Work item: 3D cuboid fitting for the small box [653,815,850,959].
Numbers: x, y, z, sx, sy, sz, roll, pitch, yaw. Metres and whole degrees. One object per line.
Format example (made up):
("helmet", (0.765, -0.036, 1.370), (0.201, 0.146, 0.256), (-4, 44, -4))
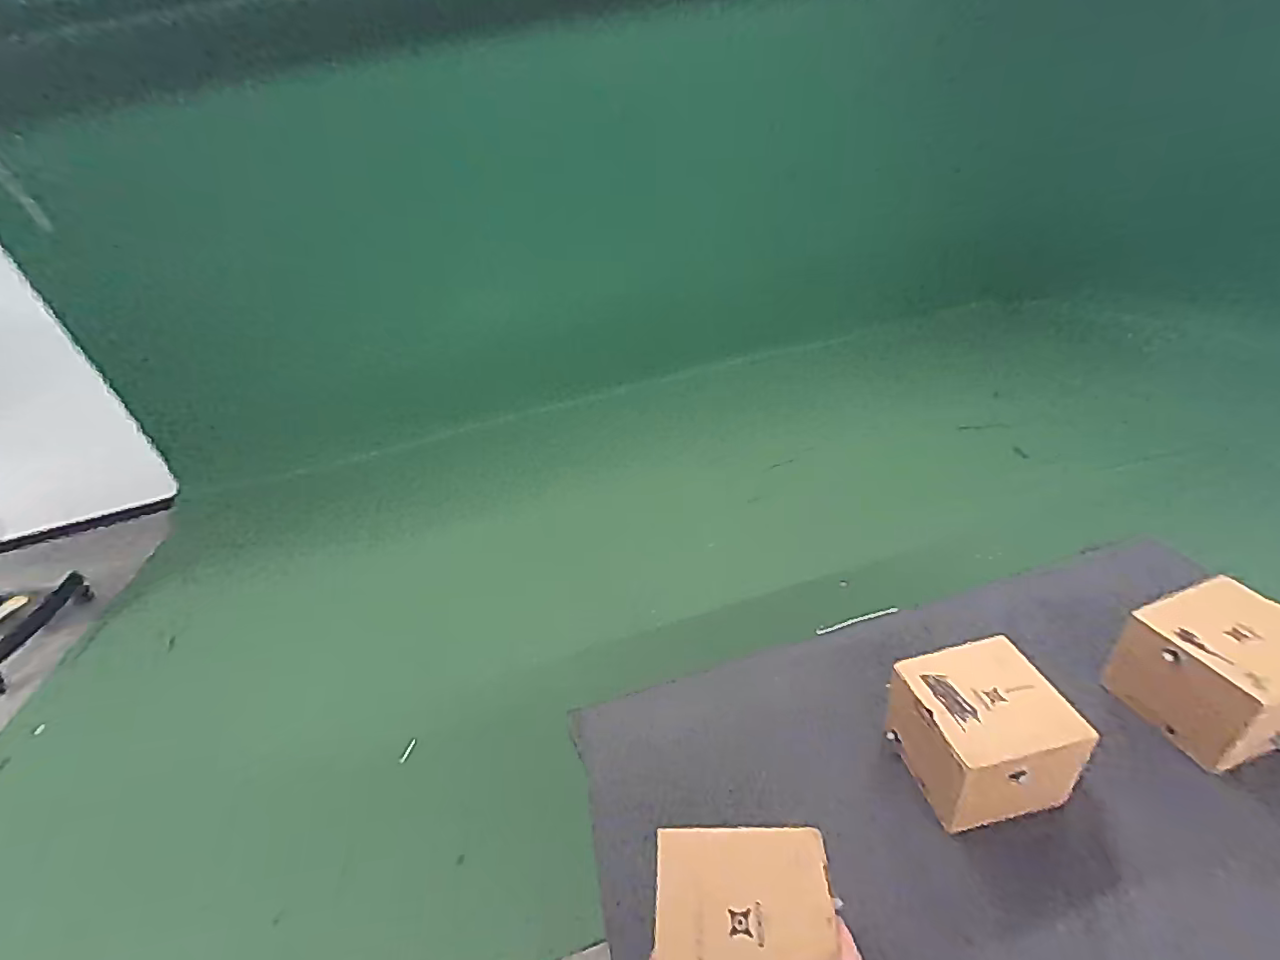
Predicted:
("small box", (0.115, 0.468, 0.559), (0.179, 0.176, 0.168), (-7, 39, 11))

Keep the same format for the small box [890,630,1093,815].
("small box", (0.476, 0.345, 0.769), (0.179, 0.176, 0.168), (-11, 36, 0))

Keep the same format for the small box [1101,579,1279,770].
("small box", (0.836, 0.282, 0.791), (0.179, 0.176, 0.168), (-19, 36, -10))
